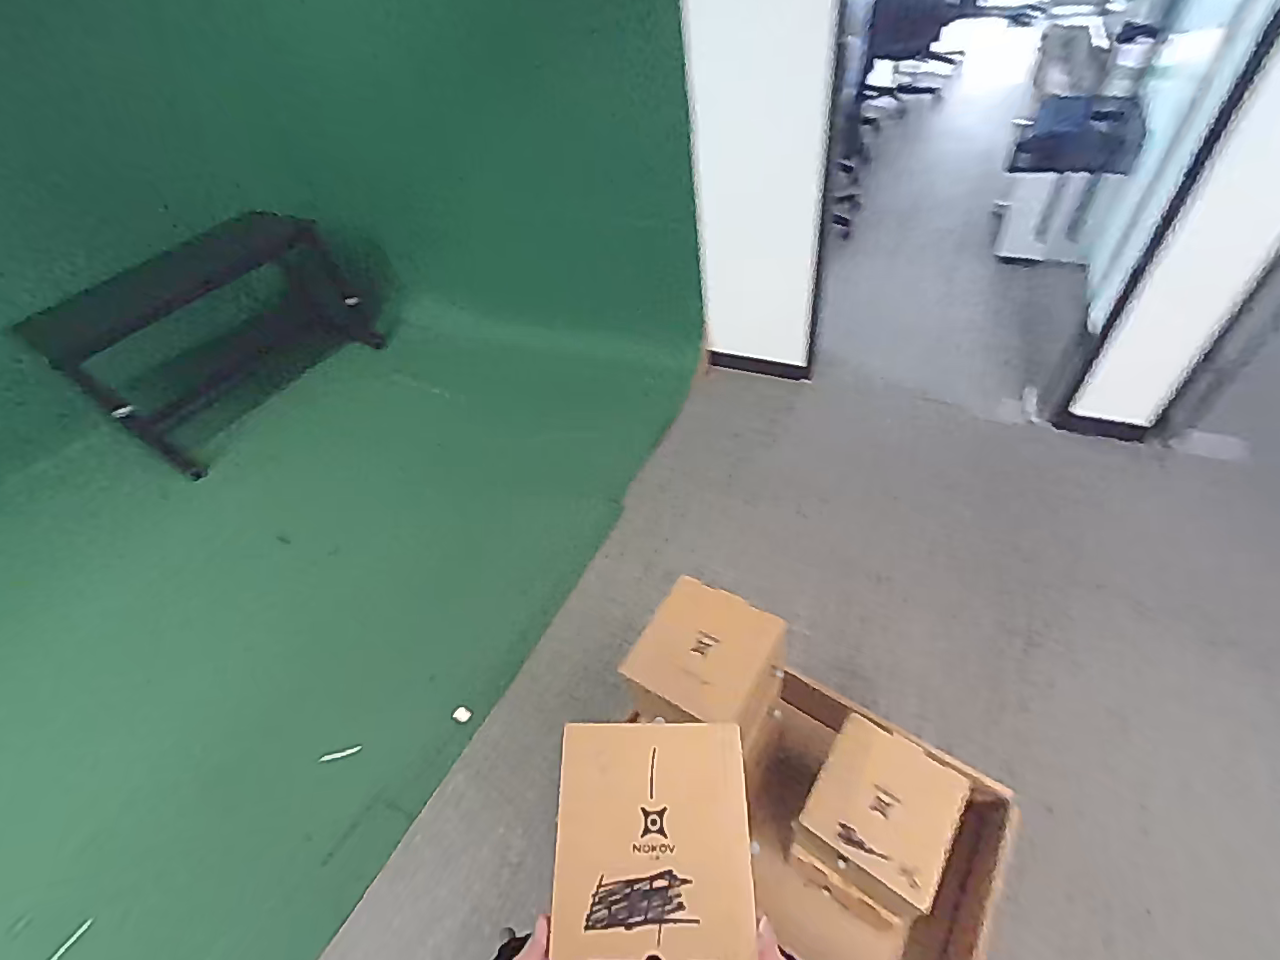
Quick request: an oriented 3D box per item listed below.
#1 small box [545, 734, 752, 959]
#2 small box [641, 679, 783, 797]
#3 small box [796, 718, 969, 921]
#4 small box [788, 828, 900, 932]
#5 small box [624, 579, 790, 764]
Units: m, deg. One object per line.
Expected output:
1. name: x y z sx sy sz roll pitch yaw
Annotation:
1. small box: 0.008 0.348 0.526 0.168 0.176 0.179 -1 61 0
2. small box: 0.121 0.398 0.899 0.168 0.176 0.179 21 56 27
3. small box: 0.338 0.490 0.782 0.168 0.176 0.179 26 59 29
4. small box: 0.357 0.603 0.901 0.168 0.176 0.179 24 59 28
5. small box: 0.100 0.283 0.785 0.168 0.176 0.179 23 56 28
